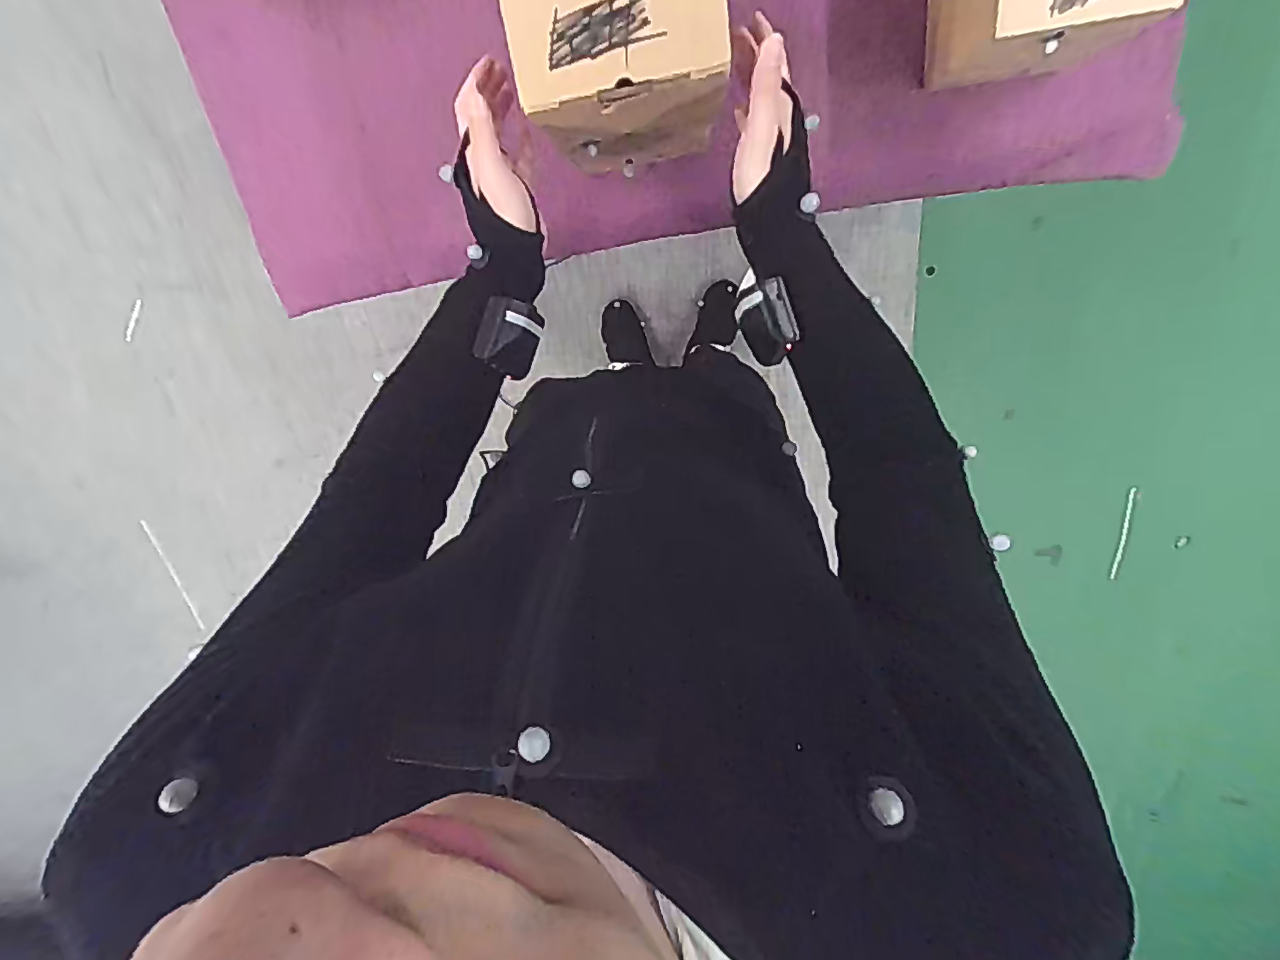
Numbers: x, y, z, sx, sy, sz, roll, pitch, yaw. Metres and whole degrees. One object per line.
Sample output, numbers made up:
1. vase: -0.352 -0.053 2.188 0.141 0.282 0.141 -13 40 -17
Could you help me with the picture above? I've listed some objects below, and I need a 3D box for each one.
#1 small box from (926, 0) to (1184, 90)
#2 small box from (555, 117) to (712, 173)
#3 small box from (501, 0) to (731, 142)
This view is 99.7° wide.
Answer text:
1. small box: 0.412 -0.534 0.548 0.168 0.176 0.179 -5 111 6
2. small box: -0.015 -0.465 0.604 0.168 0.176 0.179 -7 112 7
3. small box: -0.017 -0.403 0.452 0.168 0.176 0.179 -7 111 7
